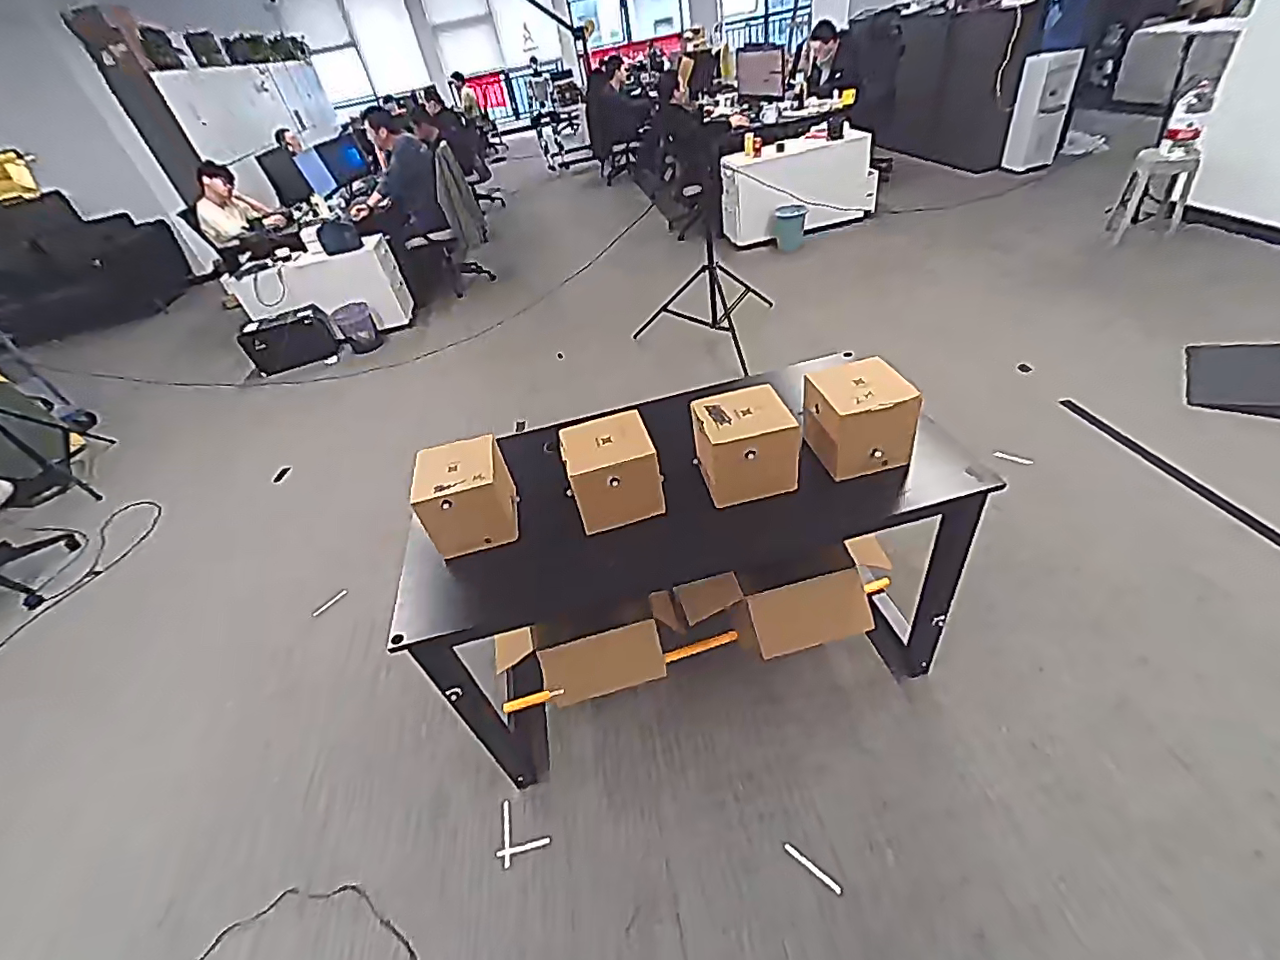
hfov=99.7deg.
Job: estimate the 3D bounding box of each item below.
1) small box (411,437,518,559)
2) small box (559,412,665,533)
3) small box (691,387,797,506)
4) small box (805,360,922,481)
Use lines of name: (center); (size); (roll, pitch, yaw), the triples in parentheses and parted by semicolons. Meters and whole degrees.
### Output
small box: (-0.364, 0.038, 1.152); (0.168, 0.176, 0.179); (-15, 40, -4)
small box: (-0.058, -0.012, 1.137); (0.179, 0.176, 0.168); (-15, 41, -5)
small box: (0.217, -0.067, 1.127); (0.179, 0.176, 0.168); (-13, 39, -1)
small box: (0.455, -0.125, 1.134); (0.168, 0.176, 0.179); (-14, 39, -1)
